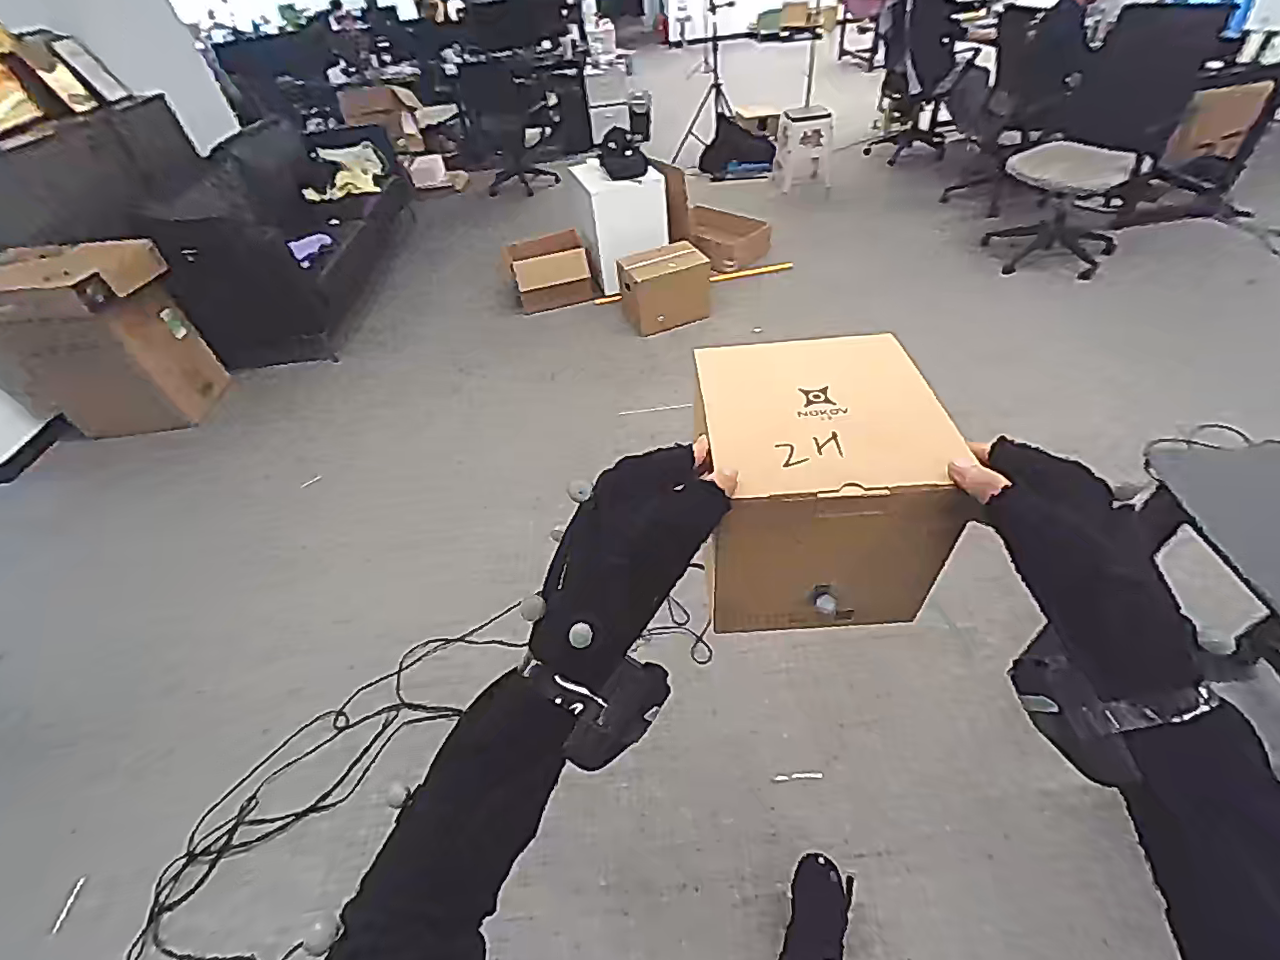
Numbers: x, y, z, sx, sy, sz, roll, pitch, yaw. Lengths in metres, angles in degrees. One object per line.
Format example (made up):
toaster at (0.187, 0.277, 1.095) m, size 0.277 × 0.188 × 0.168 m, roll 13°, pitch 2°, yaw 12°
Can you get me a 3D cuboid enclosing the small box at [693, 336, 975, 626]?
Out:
small box at (0.132, 0.001, 0.453) m, size 0.168 × 0.176 × 0.179 m, roll -4°, pitch 45°, yaw 2°
